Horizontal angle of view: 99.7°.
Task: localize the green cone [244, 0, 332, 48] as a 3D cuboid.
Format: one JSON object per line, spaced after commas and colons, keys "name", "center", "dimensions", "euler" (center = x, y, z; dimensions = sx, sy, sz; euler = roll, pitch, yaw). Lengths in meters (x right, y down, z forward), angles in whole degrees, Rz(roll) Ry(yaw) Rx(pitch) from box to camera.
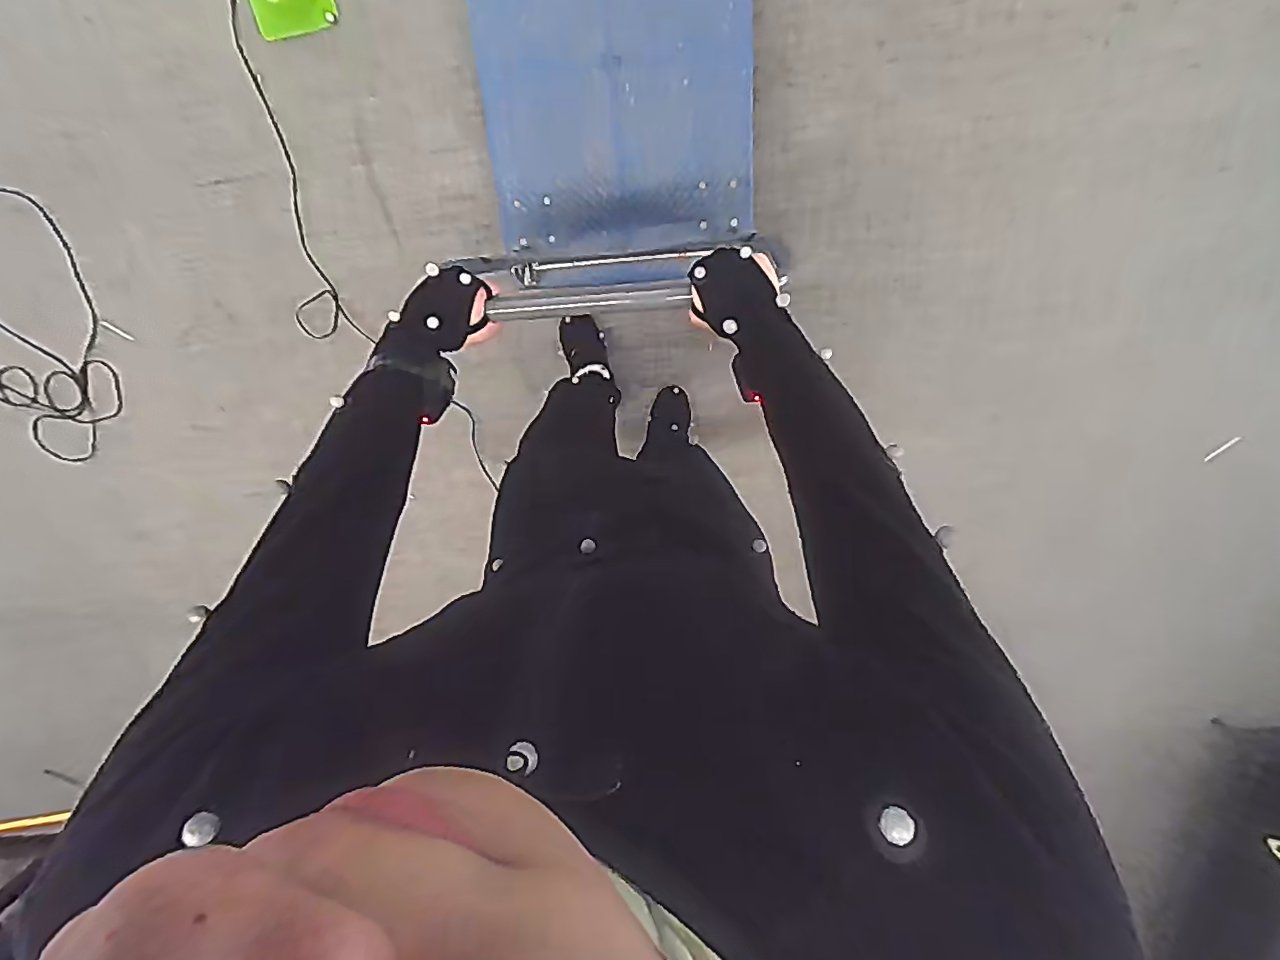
{"name": "green cone", "center": [-0.843, -1.075, 1.087], "dimensions": [0.202, 0.368, 0.200], "euler": [-7, 110, 8]}
